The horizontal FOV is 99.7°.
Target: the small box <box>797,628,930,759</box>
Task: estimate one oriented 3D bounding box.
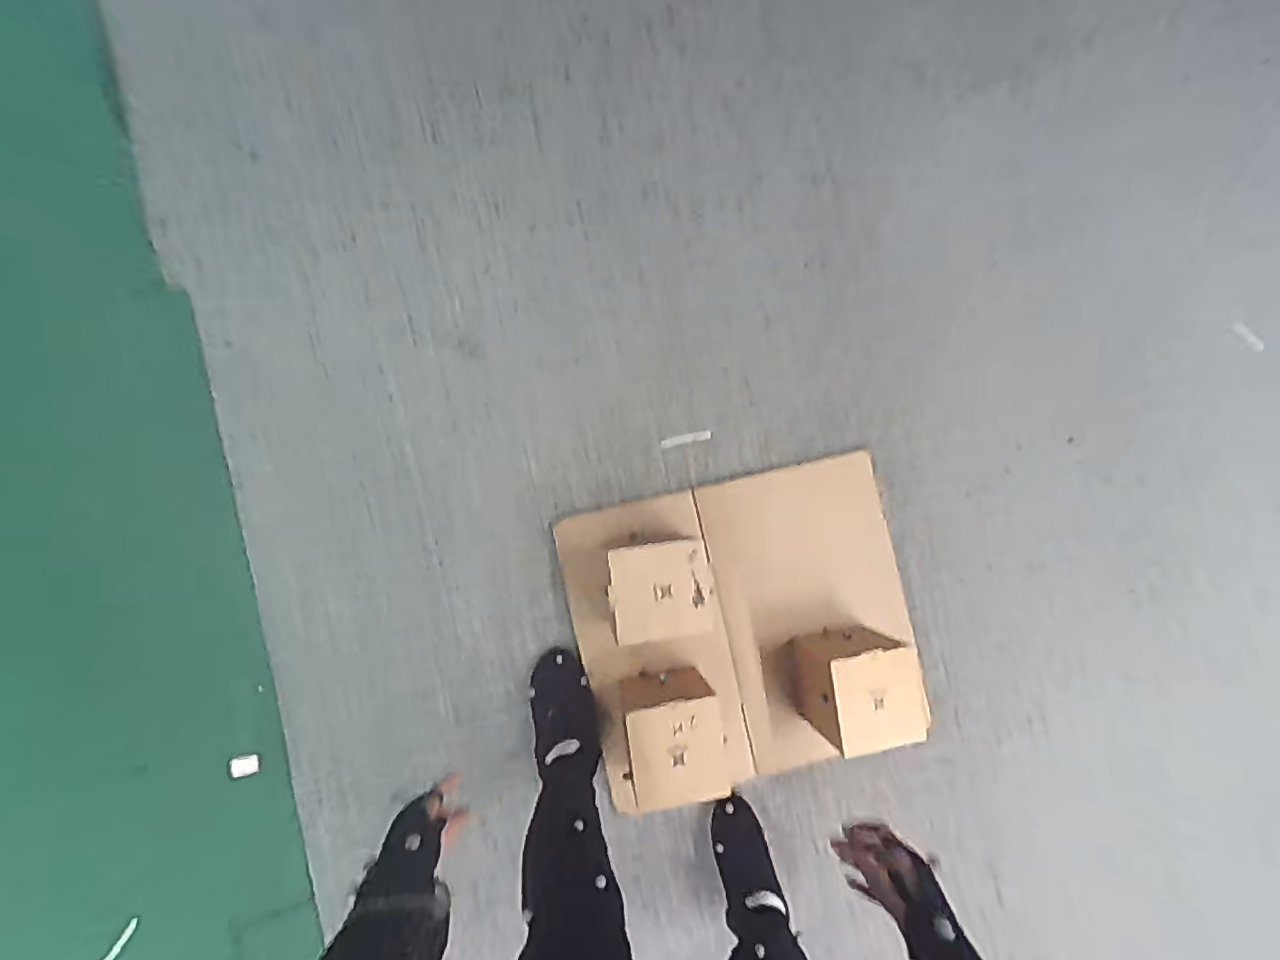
[{"bbox_3d":[0.424,0.403,1.048,0.168,0.176,0.179,-8,87,-8],"label":"small box"}]

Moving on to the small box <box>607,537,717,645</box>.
[{"bbox_3d":[0.032,0.199,1.013,0.179,0.176,0.168,-6,88,-7],"label":"small box"}]

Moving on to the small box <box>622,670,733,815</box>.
[{"bbox_3d":[0.062,0.475,1.002,0.168,0.176,0.179,-7,88,-8],"label":"small box"}]
